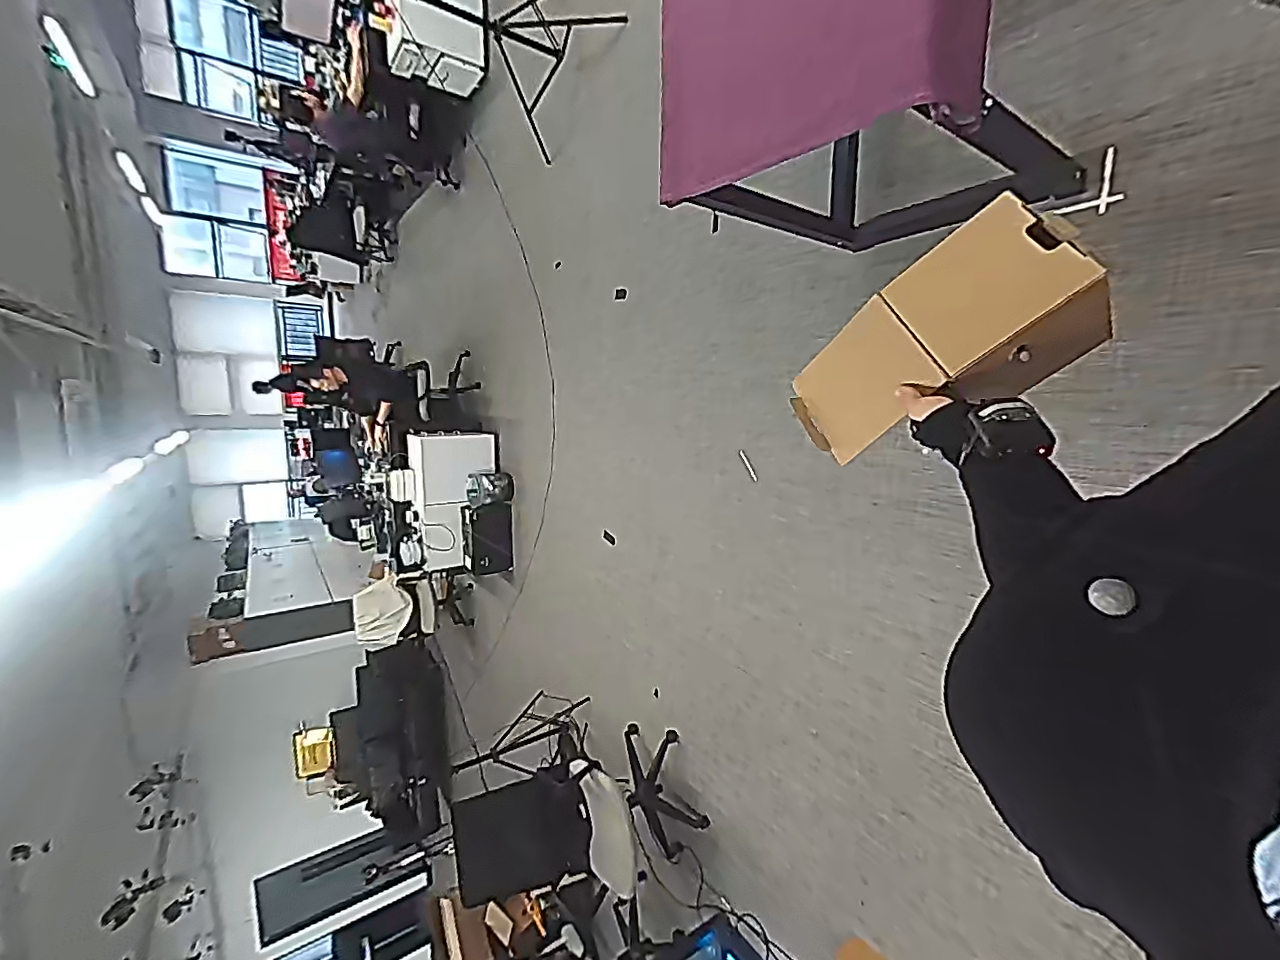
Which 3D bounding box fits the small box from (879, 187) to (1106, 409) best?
[{"bbox_3d":[0.452,-0.218,0.695,0.179,0.176,0.168,-38,55,28],"label":"small box"}]
